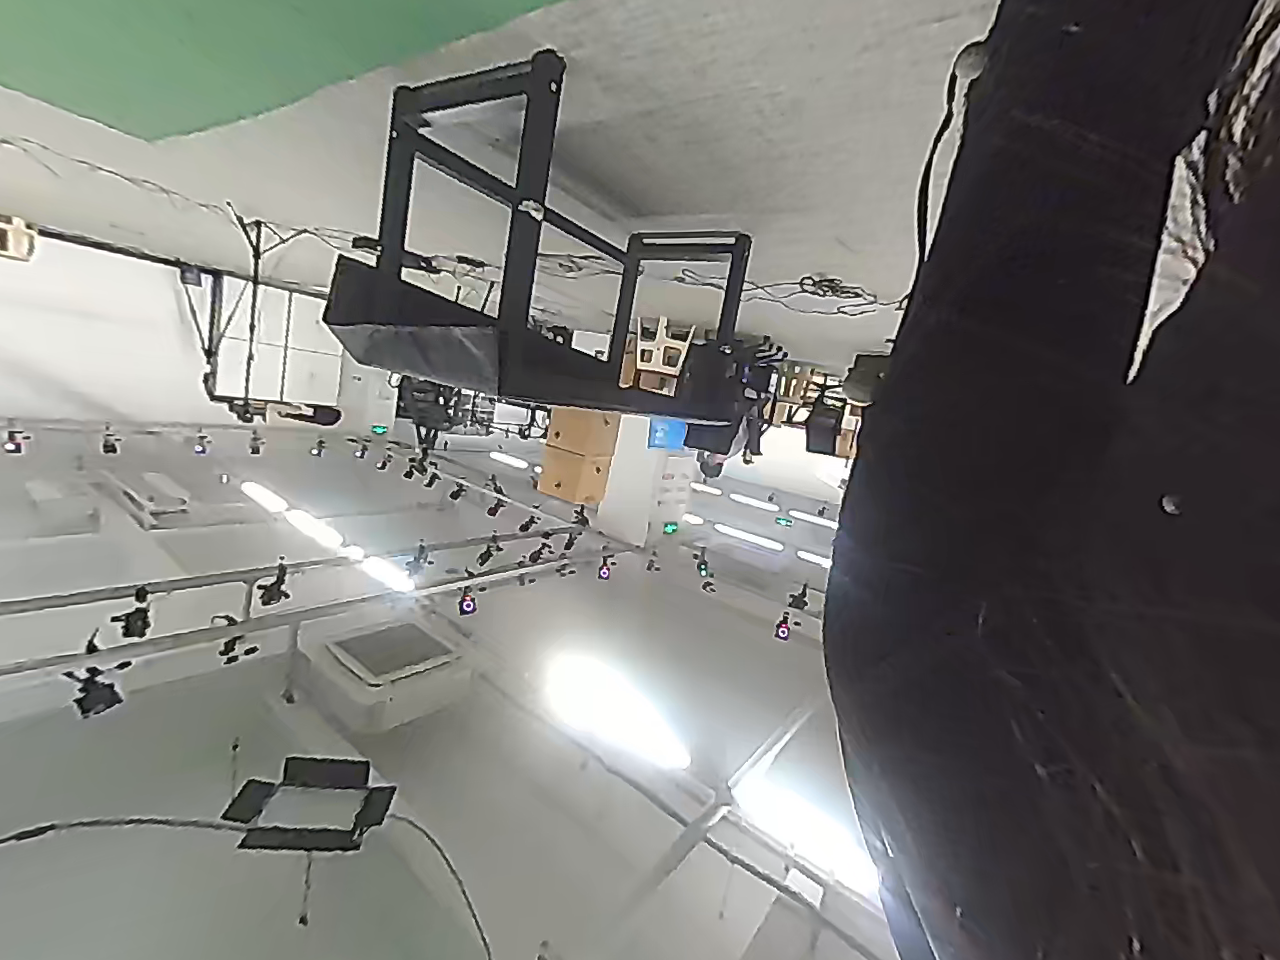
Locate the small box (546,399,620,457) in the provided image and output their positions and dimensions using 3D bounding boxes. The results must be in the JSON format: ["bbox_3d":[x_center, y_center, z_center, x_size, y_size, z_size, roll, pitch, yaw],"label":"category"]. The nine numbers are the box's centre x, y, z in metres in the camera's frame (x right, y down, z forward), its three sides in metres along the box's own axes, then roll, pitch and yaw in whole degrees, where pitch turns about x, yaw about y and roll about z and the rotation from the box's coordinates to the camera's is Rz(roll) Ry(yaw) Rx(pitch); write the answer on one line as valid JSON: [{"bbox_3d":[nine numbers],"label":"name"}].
[{"bbox_3d":[-0.188,-0.177,1.825,0.179,0.176,0.168,17,-169,32],"label":"small box"}]

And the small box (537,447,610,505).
[{"bbox_3d":[-0.223,-0.022,1.855,0.179,0.176,0.168,16,-170,32],"label":"small box"}]
